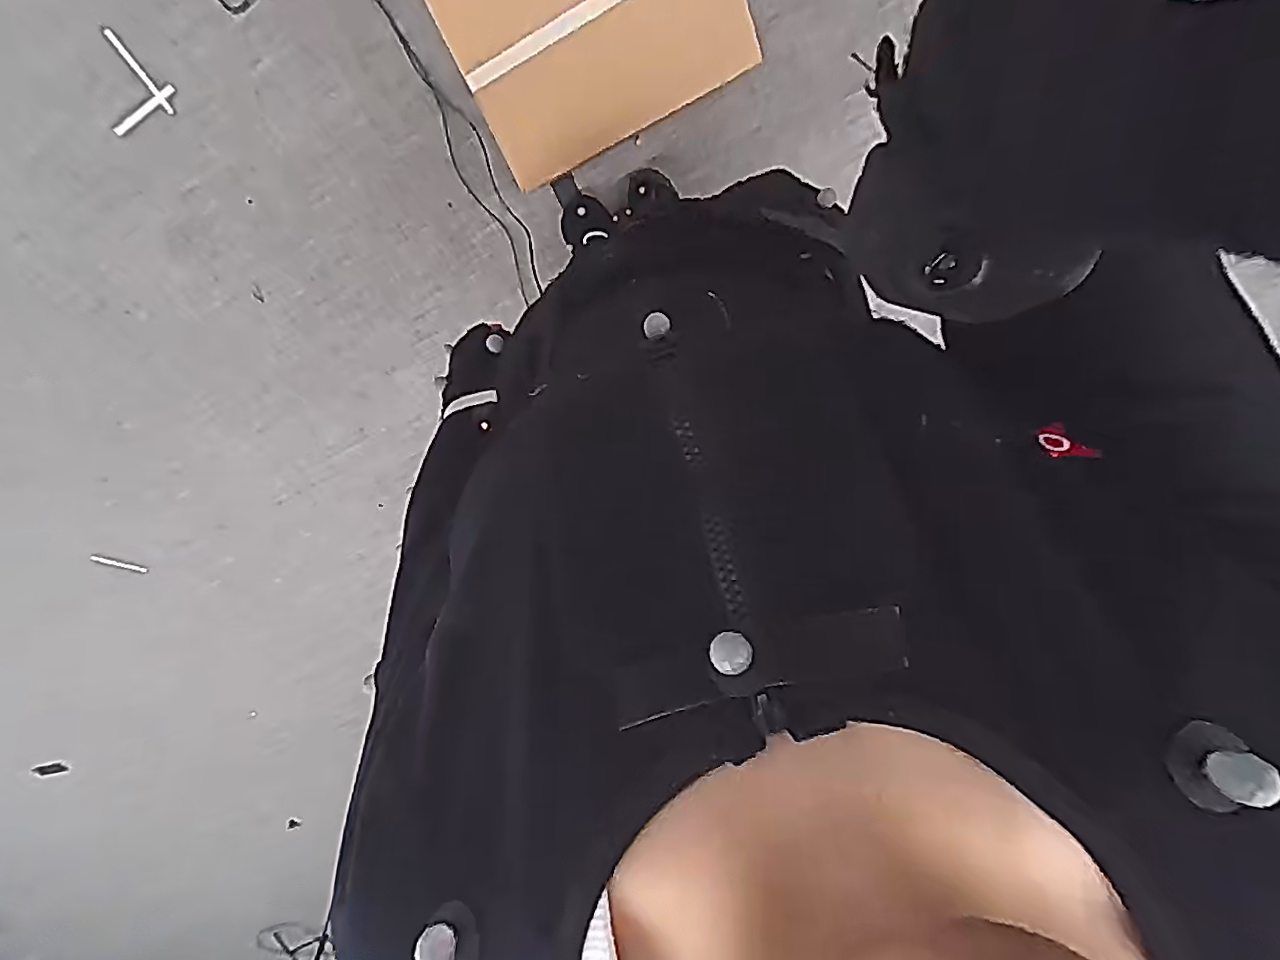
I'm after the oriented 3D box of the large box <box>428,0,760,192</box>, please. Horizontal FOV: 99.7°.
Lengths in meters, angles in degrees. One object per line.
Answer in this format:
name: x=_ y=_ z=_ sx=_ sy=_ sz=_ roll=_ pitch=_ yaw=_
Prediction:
large box: x=-0.071 y=-0.728 z=0.887 sx=0.408 sy=0.320 sz=0.320 roll=-23 pitch=120 yaw=11
